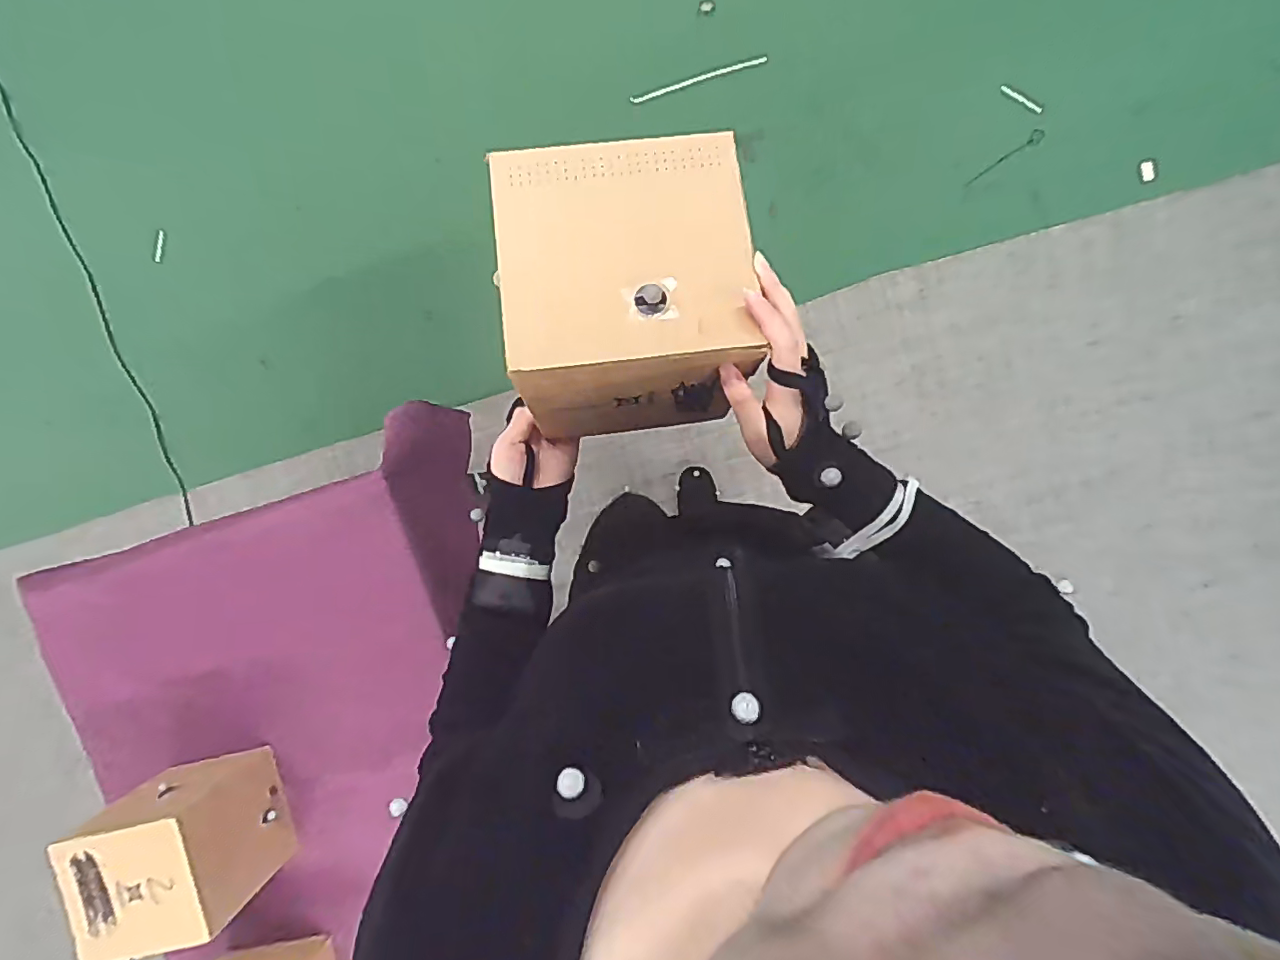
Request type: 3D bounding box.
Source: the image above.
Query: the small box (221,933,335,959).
[{"bbox_3d":[-0.554,0.794,0.761,0.179,0.176,0.168,-12,92,3],"label":"small box"}]

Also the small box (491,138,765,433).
[{"bbox_3d":[-0.014,-0.148,0.446,0.179,0.168,0.176,-6,80,-3],"label":"small box"}]
